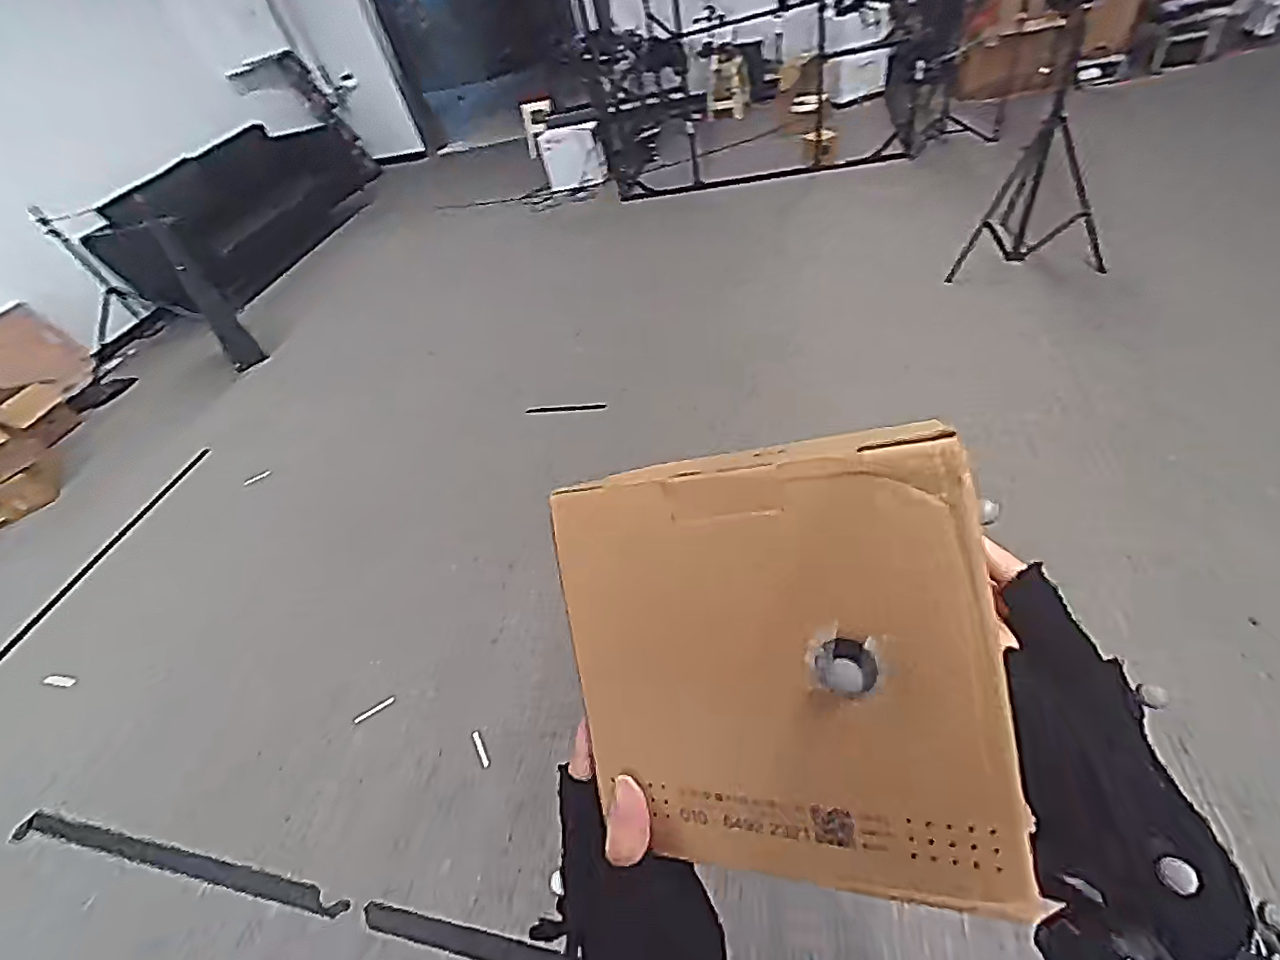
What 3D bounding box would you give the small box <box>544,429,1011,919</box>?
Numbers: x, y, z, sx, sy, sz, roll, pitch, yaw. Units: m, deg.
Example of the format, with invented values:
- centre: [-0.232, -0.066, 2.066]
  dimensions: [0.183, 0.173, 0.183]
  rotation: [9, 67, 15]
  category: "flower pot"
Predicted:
- centre: [0.079, 0.075, 0.287]
  dimensions: [0.168, 0.176, 0.179]
  rotation: [-9, 3, 28]
  category: "small box"
